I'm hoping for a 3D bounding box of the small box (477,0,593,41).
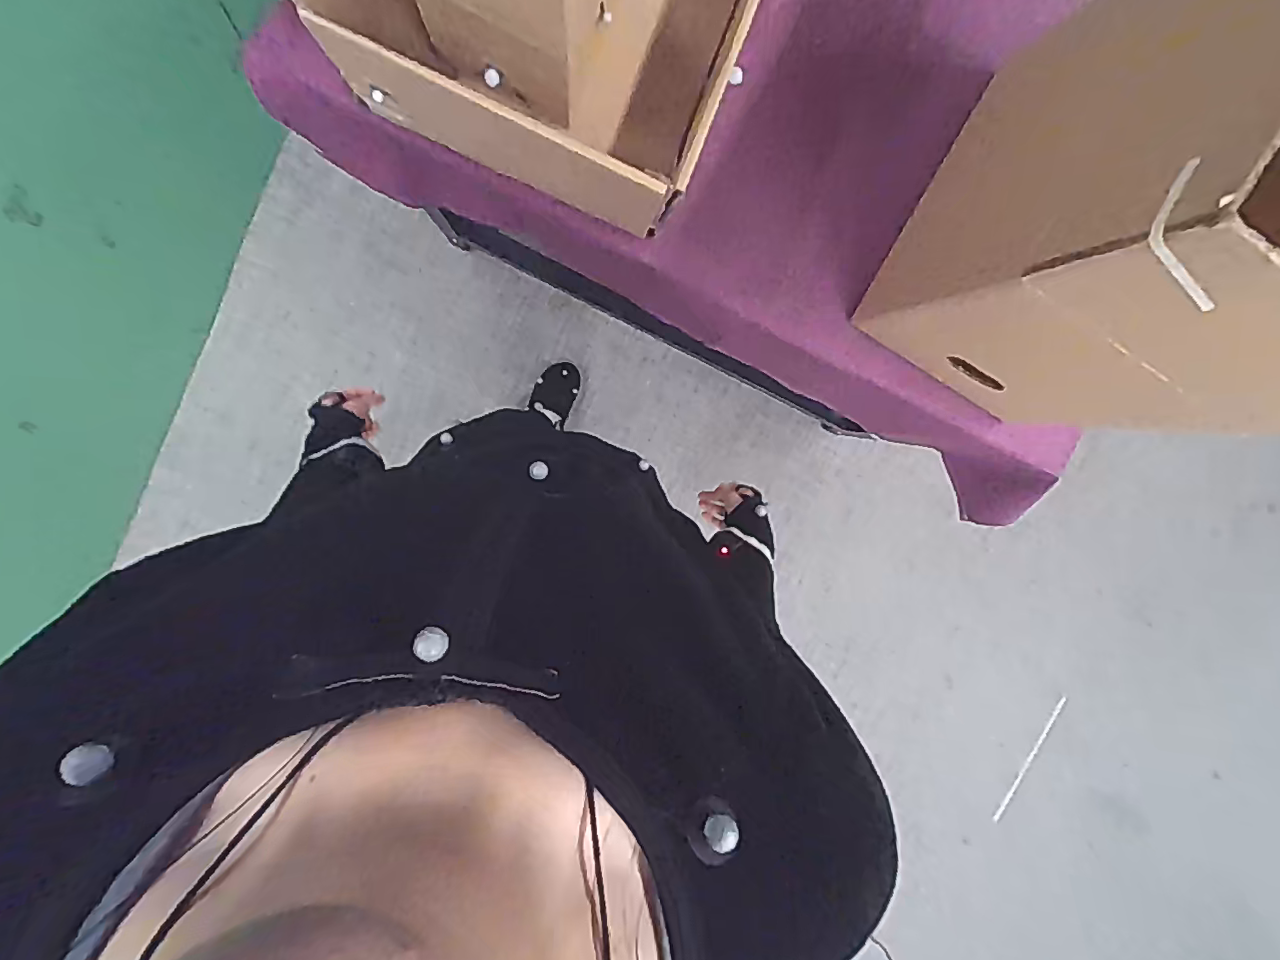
[{"bbox_3d":[-0.101,-0.479,0.390,0.179,0.176,0.168,24,96,-9],"label":"small box"}]
